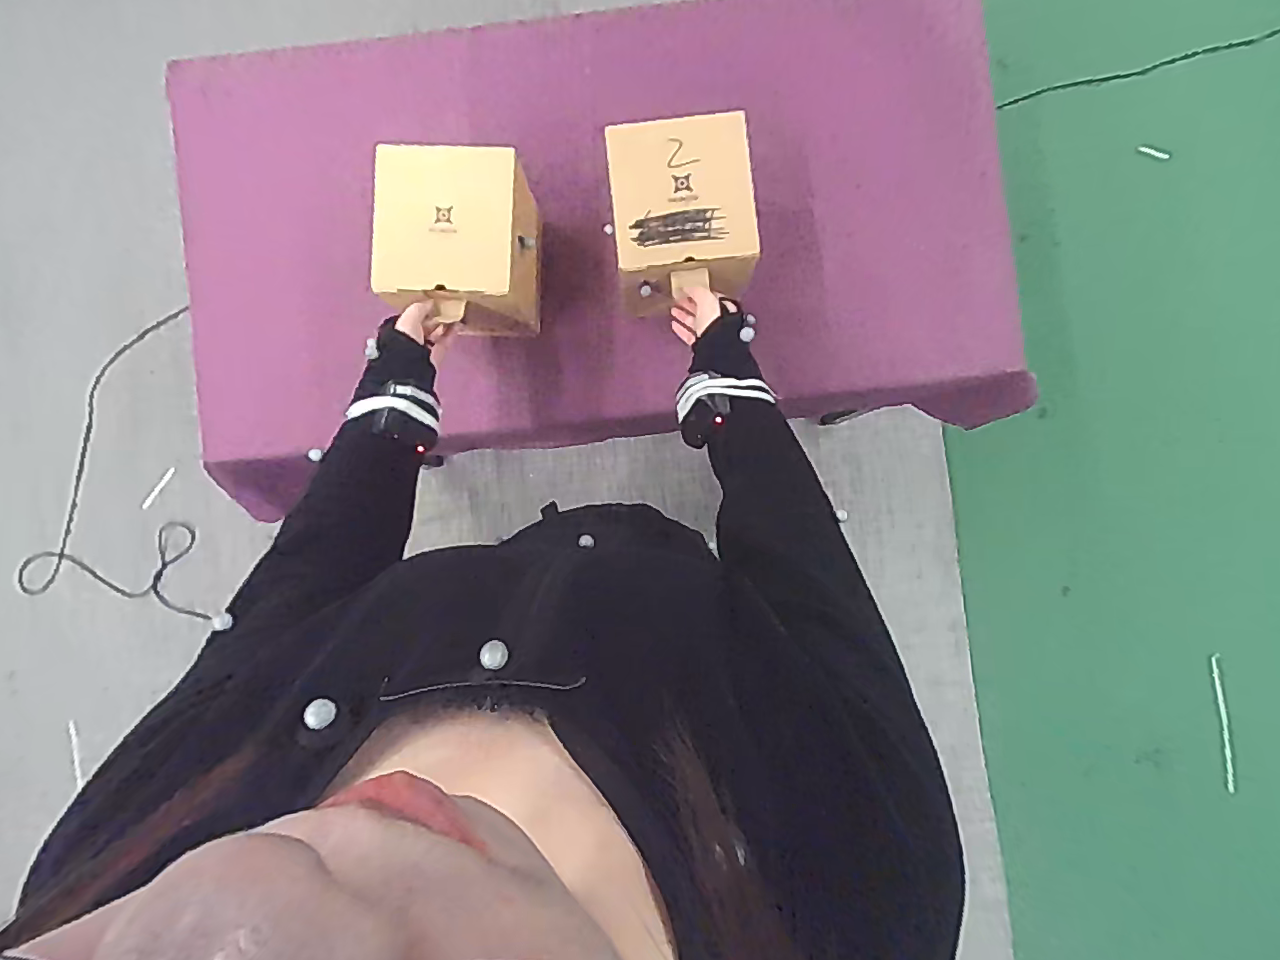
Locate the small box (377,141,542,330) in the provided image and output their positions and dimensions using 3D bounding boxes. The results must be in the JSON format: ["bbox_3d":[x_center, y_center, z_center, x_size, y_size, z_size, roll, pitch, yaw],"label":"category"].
[{"bbox_3d":[-0.230,-0.316,0.727,0.168,0.176,0.179,2,90,1],"label":"small box"}]
